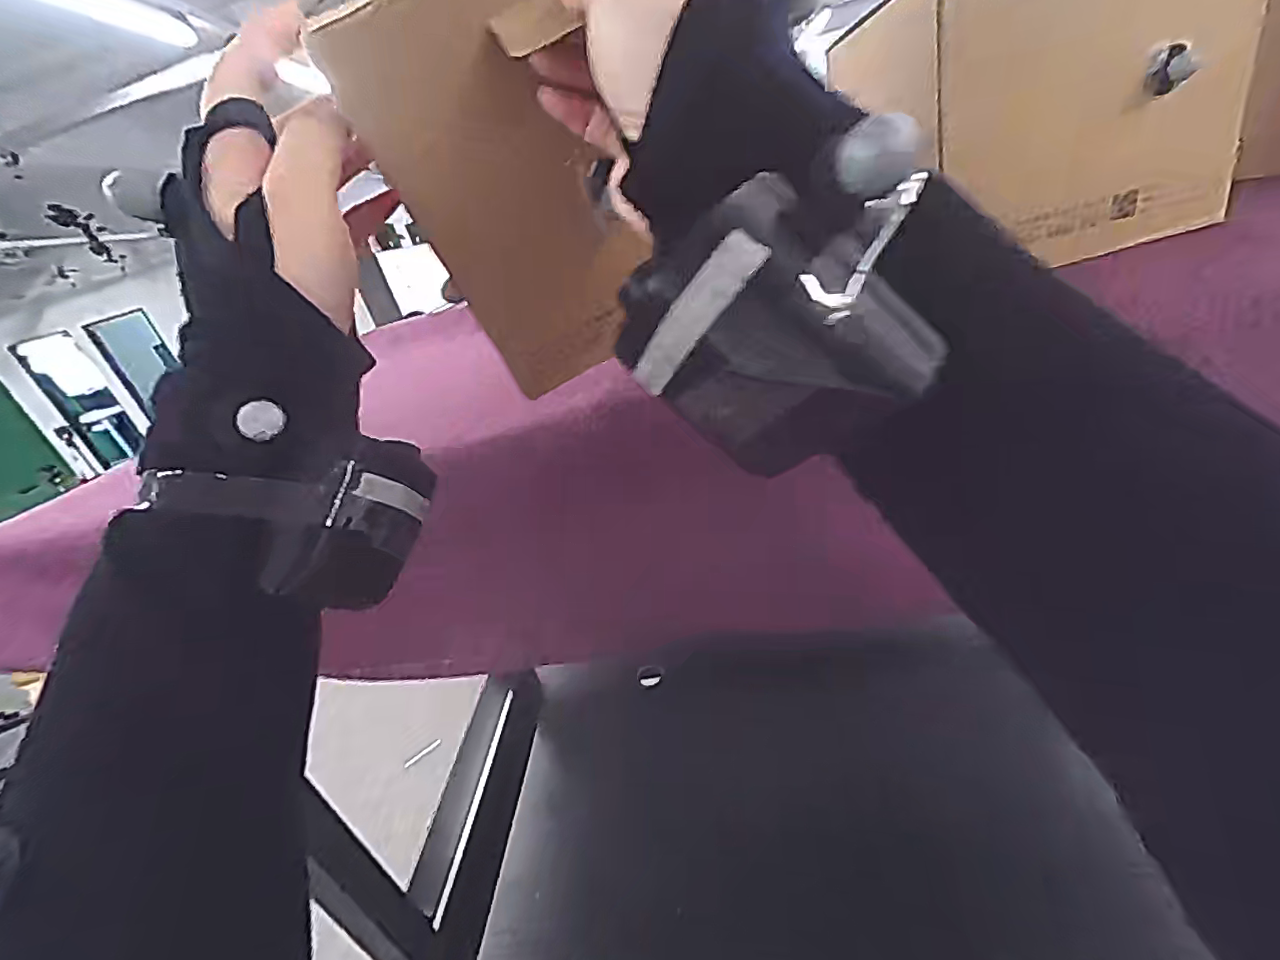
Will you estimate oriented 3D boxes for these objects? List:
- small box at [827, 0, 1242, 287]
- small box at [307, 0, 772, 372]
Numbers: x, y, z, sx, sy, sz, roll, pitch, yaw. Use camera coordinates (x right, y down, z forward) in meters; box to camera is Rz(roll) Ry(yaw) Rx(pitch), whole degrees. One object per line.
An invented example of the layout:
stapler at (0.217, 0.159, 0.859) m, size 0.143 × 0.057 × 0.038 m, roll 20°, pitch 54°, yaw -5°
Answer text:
small box at (0.243, -0.240, 0.366) m, size 0.168 × 0.176 × 0.179 m, roll -13°, pitch 25°, yaw 5°
small box at (-0.045, -0.185, 0.299) m, size 0.168 × 0.176 × 0.179 m, roll -28°, pitch 45°, yaw -3°
